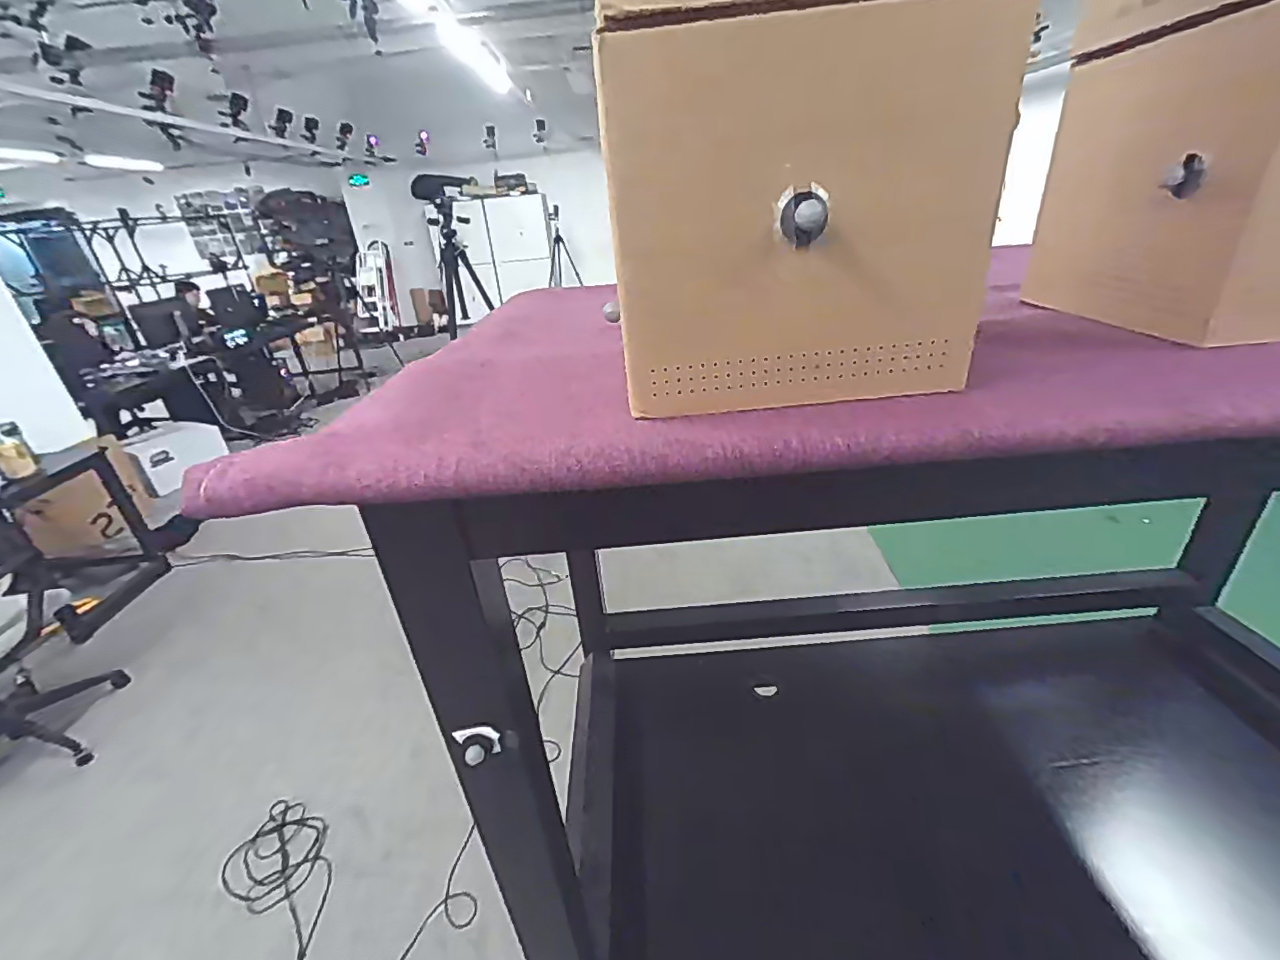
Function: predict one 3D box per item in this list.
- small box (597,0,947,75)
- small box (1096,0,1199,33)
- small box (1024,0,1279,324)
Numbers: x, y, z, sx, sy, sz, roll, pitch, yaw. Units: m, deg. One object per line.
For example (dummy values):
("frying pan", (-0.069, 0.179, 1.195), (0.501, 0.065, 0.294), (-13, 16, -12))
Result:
("small box", (0.057, -0.298, 0.234), (0.179, 0.176, 0.168), (-7, 28, 1))
("small box", (0.373, -0.343, 0.264), (0.179, 0.176, 0.168), (-4, 28, 3))
("small box", (0.388, -0.196, 0.337), (0.168, 0.176, 0.179), (-4, 26, 2))
